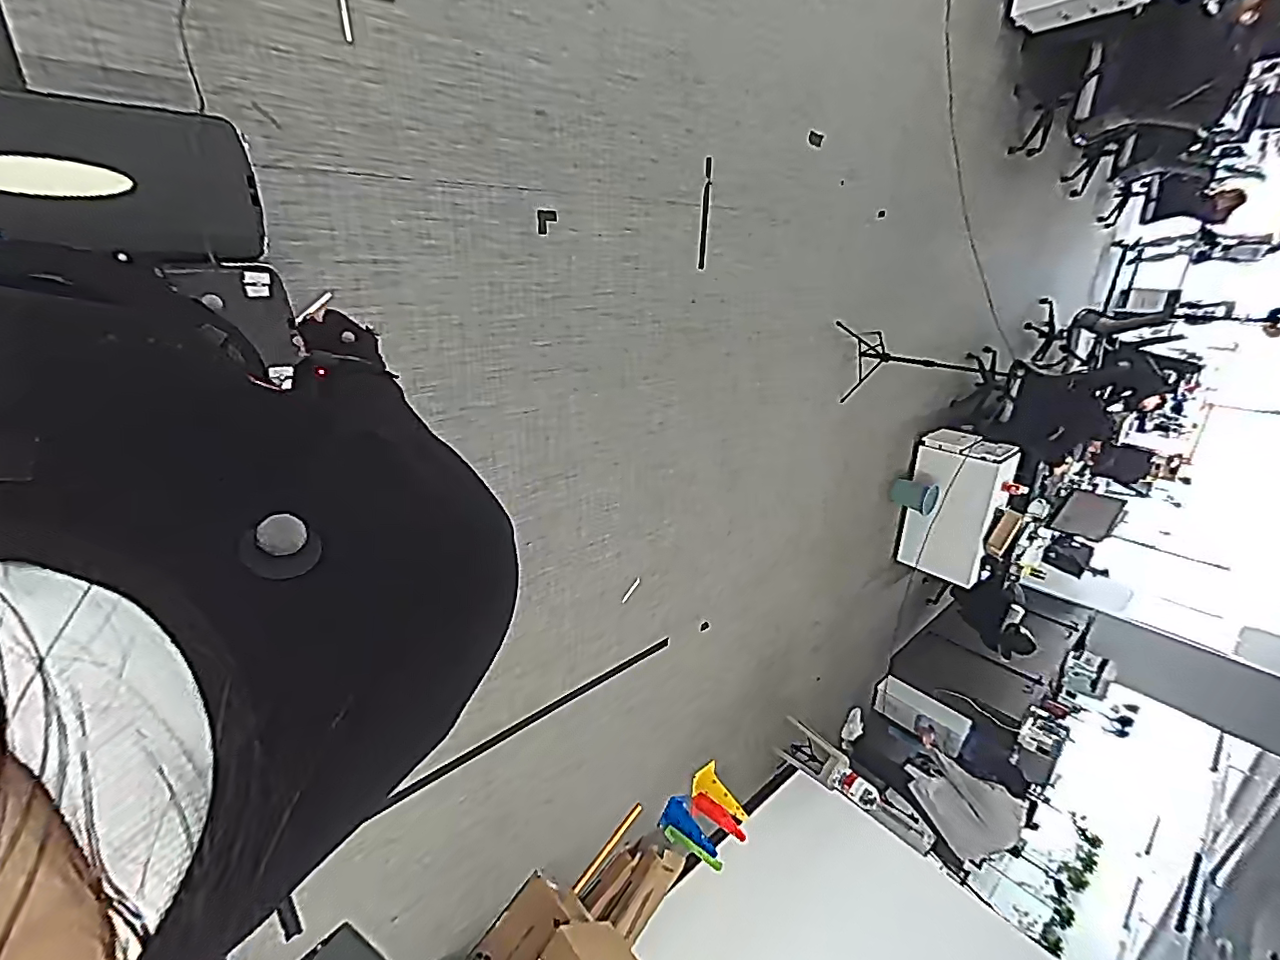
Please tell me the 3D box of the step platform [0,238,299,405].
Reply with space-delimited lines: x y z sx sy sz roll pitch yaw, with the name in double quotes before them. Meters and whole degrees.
"step platform" -1.085 -0.324 1.075 0.684 0.204 0.286 -17 118 -36
